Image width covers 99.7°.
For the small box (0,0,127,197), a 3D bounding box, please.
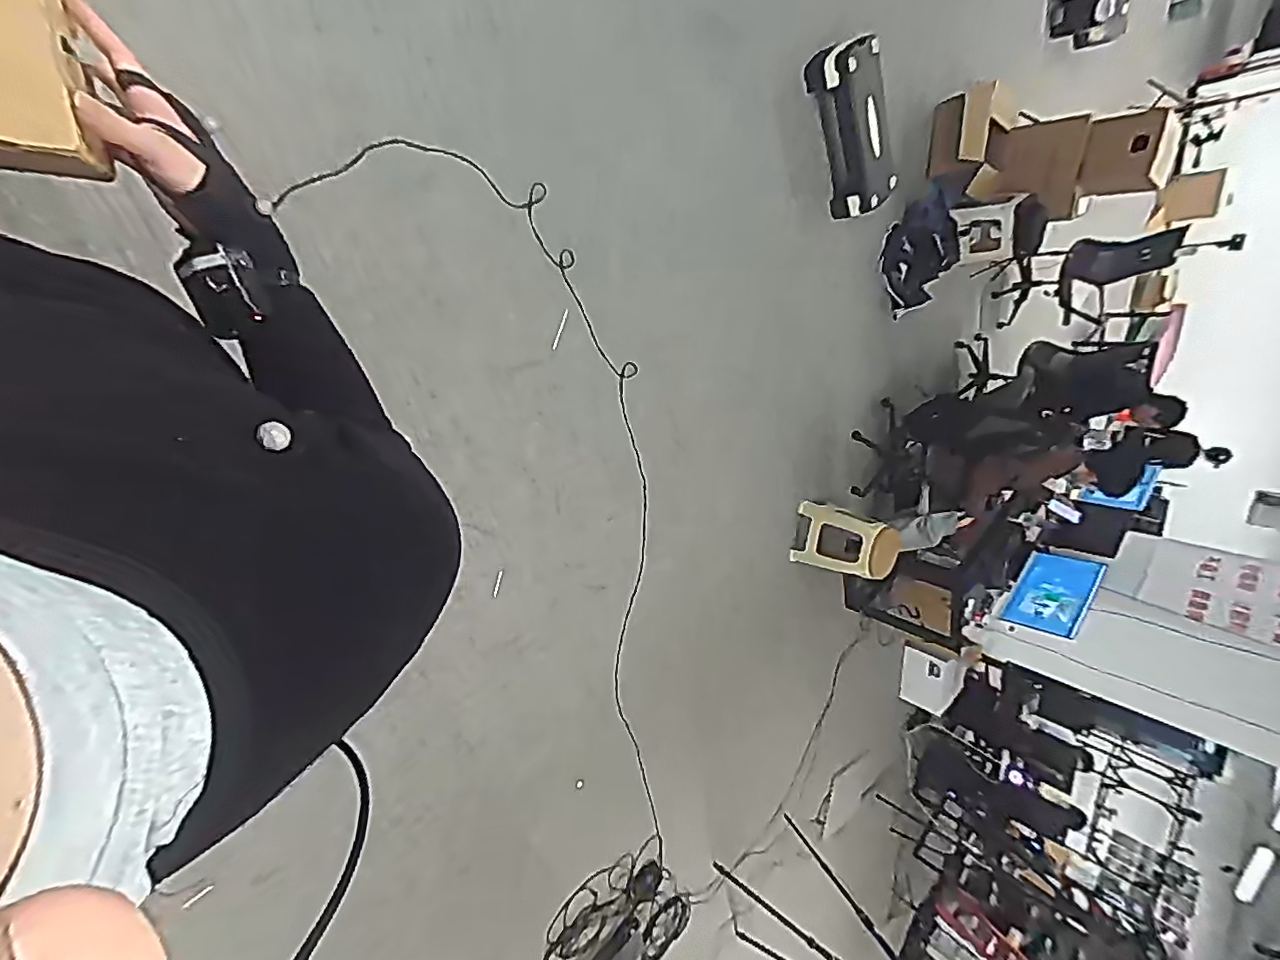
[{"bbox_3d":[-0.450,-0.282,0.331,0.168,0.176,0.179,-13,116,-35],"label":"small box"}]
